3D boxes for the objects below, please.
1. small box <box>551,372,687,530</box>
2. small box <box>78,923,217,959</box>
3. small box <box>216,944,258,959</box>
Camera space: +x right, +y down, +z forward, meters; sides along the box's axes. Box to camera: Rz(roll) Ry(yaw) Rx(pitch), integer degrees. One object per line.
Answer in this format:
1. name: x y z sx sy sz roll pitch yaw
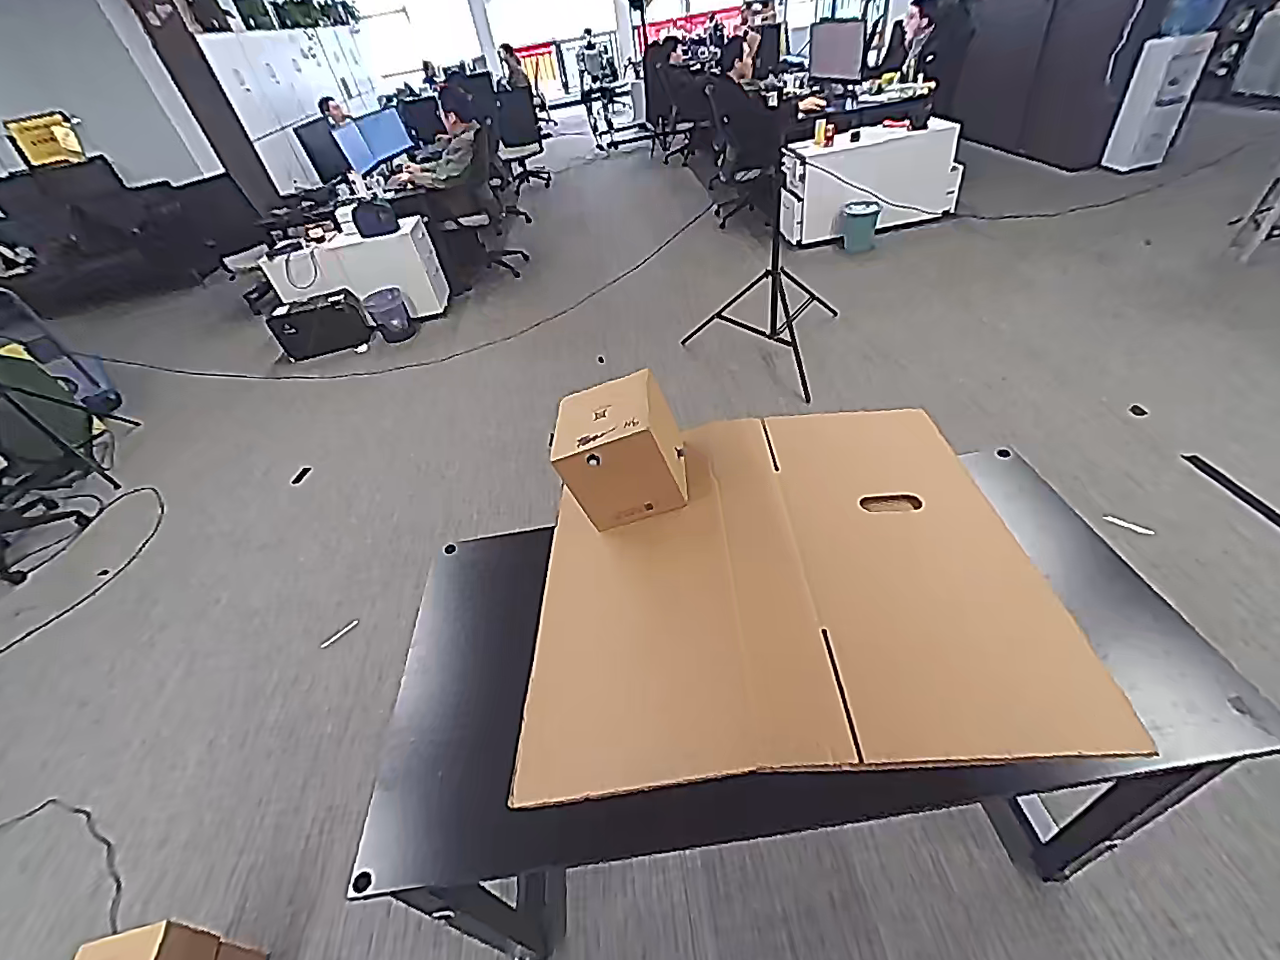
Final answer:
1. small box: -0.028 -0.046 0.905 0.168 0.176 0.179 -18 38 15
2. small box: -0.964 0.994 1.033 0.168 0.176 0.179 -14 40 -5
3. small box: -0.938 1.118 1.135 0.168 0.176 0.179 -13 42 -2
